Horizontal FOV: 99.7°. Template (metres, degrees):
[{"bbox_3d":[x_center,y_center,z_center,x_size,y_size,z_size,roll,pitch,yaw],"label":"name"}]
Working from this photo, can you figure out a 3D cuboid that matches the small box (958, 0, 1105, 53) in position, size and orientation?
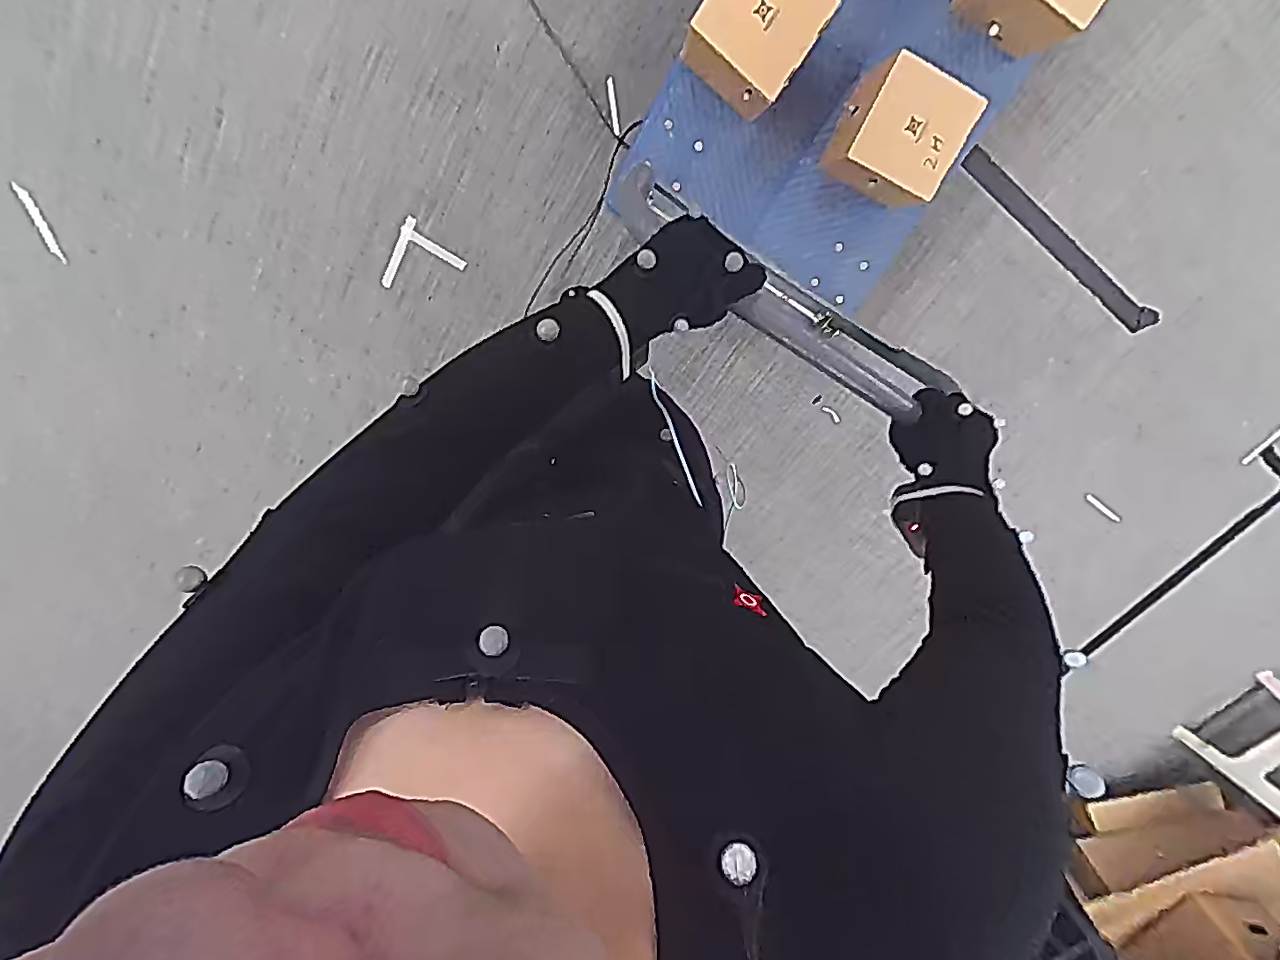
[{"bbox_3d":[0.662,-0.842,0.866,0.168,0.176,0.179,25,113,-11],"label":"small box"}]

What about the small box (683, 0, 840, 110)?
[{"bbox_3d":[0.190,-0.757,0.898,0.179,0.176,0.168,32,110,-17],"label":"small box"}]

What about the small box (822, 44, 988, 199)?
[{"bbox_3d":[0.457,-0.621,0.968,0.179,0.176,0.168,23,113,-11],"label":"small box"}]
